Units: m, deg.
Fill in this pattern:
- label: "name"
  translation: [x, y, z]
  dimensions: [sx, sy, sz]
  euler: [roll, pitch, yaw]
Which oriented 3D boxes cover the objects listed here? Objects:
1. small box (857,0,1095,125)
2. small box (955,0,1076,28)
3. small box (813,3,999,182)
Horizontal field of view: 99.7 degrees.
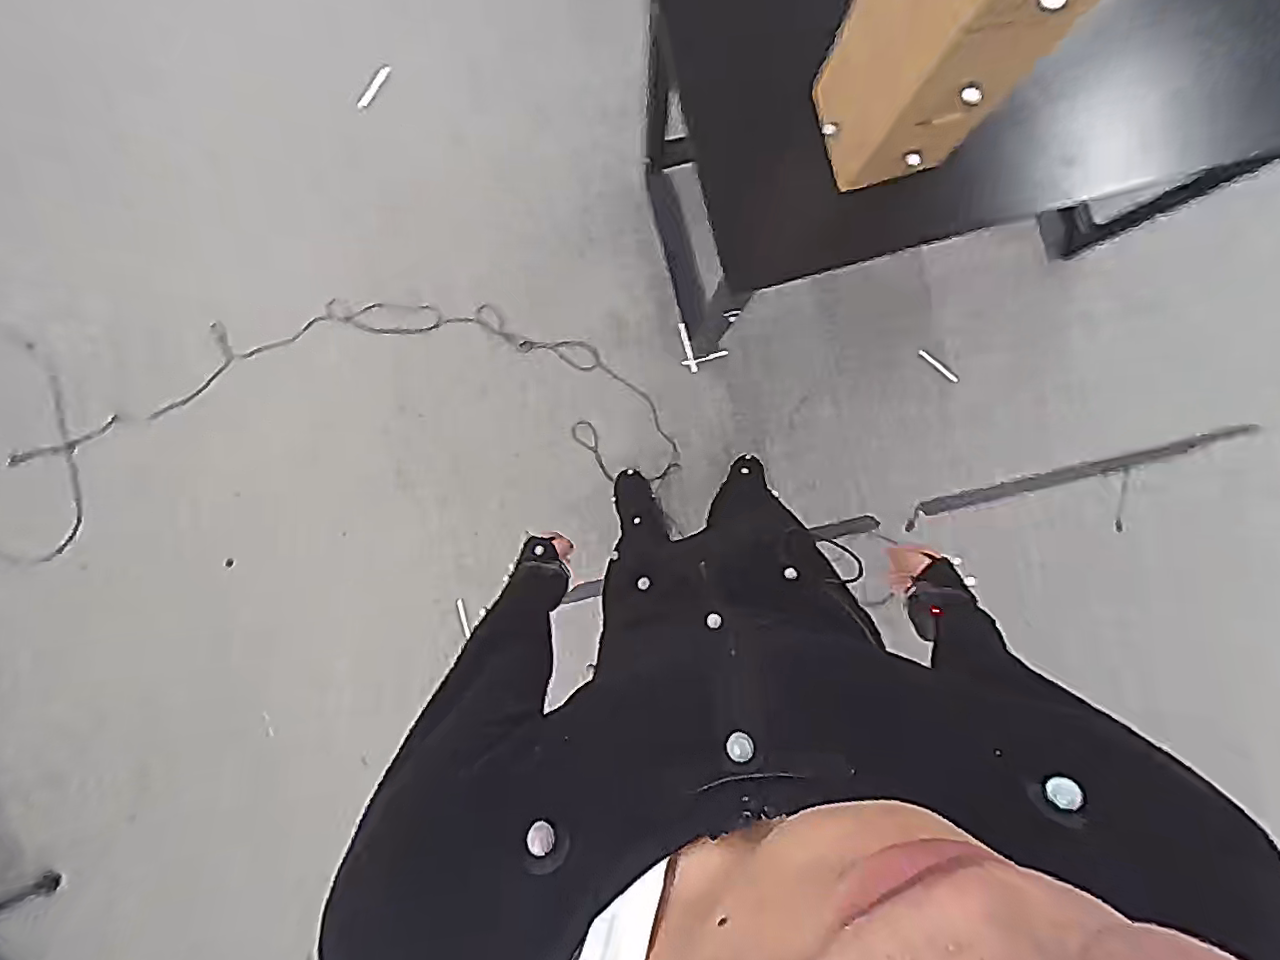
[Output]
- label: "small box"
  translation: [0.379, -0.567, 0.632]
  dimensions: [0.168, 0.176, 0.179]
  euler: [-16, 92, 1]
- label: "small box"
  translation: [0.382, -0.560, 0.470]
  dimensions: [0.168, 0.176, 0.179]
  euler: [-17, 93, 2]
- label: "small box"
  translation: [0.378, -0.572, 0.797]
  dimensions: [0.168, 0.176, 0.179]
  euler: [-17, 93, 0]
